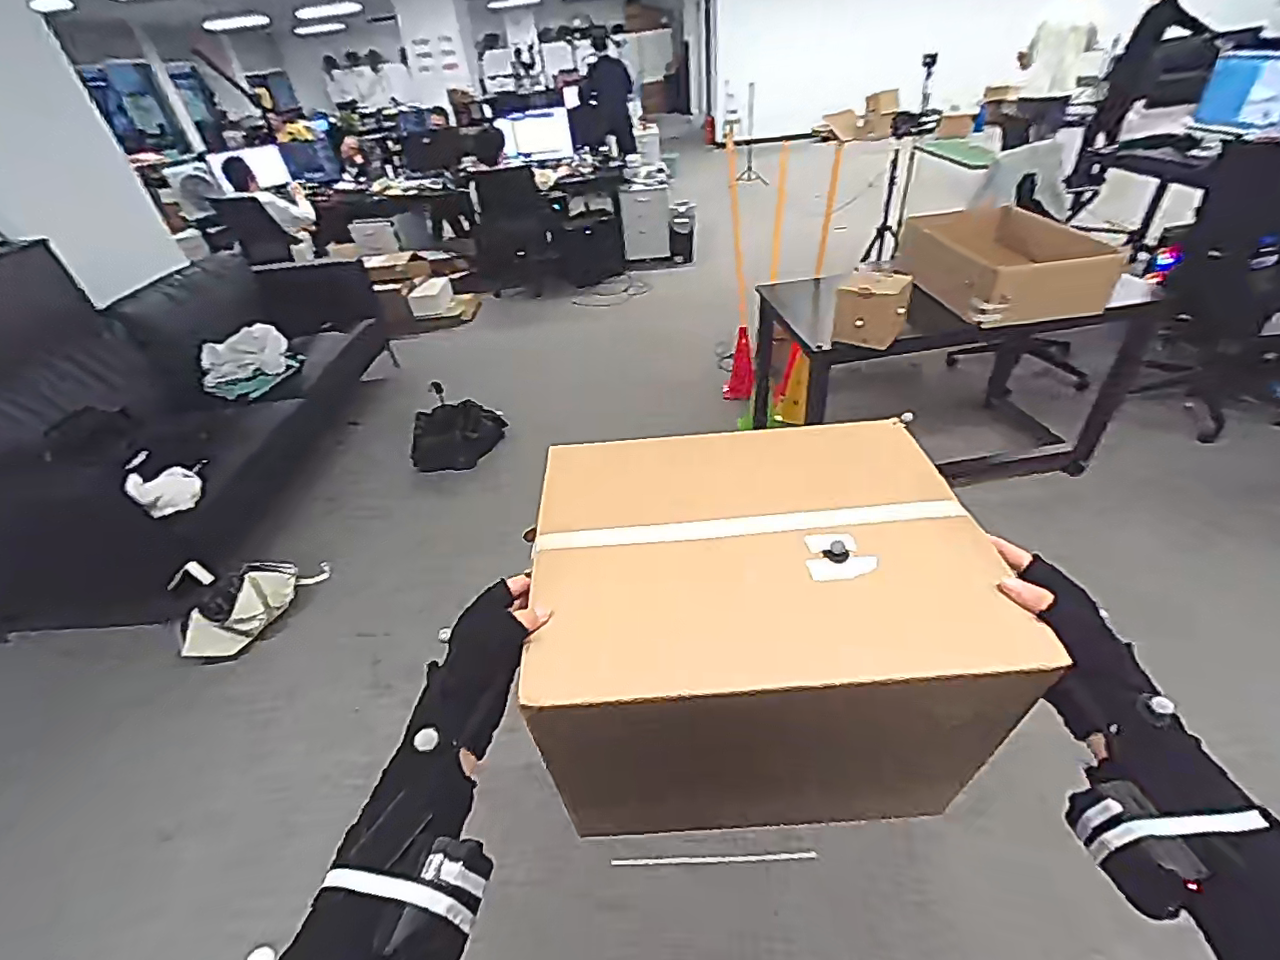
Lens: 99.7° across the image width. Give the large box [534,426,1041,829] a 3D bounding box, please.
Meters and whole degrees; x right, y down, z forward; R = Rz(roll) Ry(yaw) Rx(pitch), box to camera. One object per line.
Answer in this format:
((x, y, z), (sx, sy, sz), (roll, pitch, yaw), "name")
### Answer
((0.112, 0.163, 0.621), (0.408, 0.320, 0.320), (-4, 41, 0), "large box")
